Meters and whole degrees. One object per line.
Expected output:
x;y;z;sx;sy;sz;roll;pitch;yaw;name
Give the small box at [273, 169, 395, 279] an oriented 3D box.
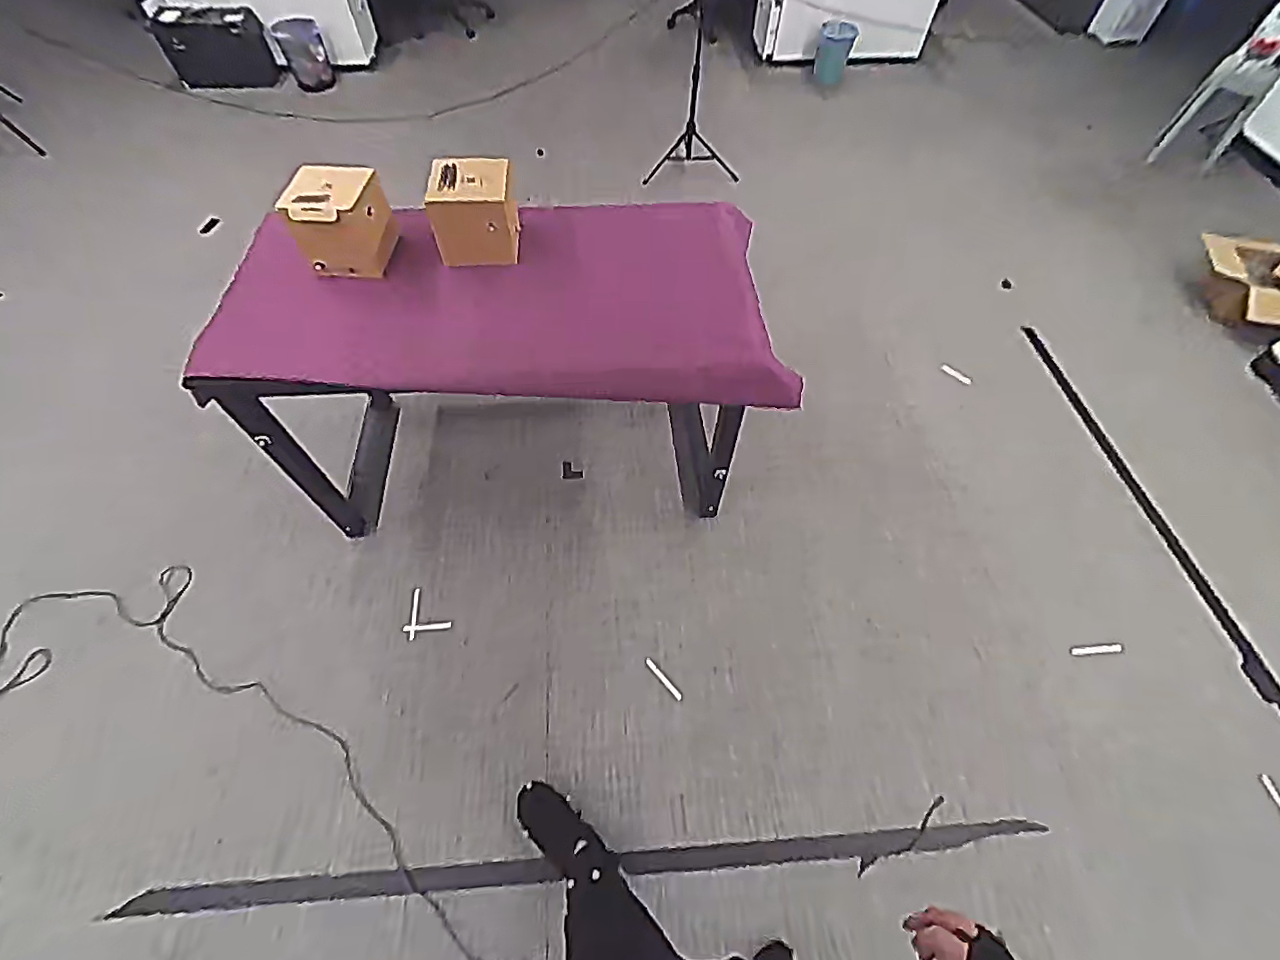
-0.693;-0.588;1.251;0.168;0.176;0.179;2;58;-1;small box
